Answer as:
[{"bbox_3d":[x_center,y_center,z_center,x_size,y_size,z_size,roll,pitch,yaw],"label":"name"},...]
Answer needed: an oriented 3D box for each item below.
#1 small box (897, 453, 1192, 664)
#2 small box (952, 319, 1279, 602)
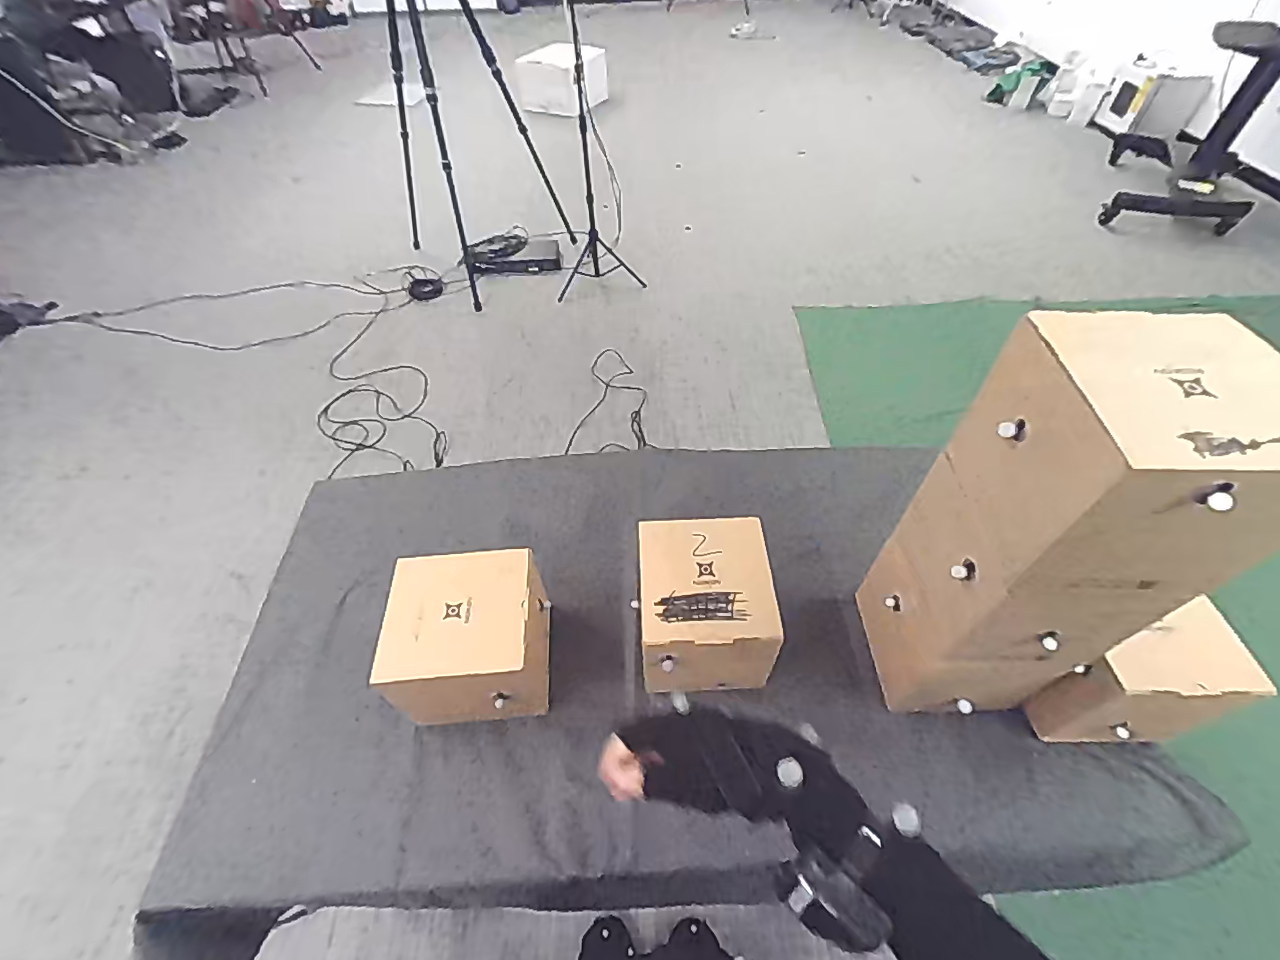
[{"bbox_3d":[0.407,0.088,0.588,0.168,0.176,0.179,0,50,2],"label":"small box"},{"bbox_3d":[0.401,-0.017,0.461,0.168,0.176,0.179,1,49,3],"label":"small box"}]
